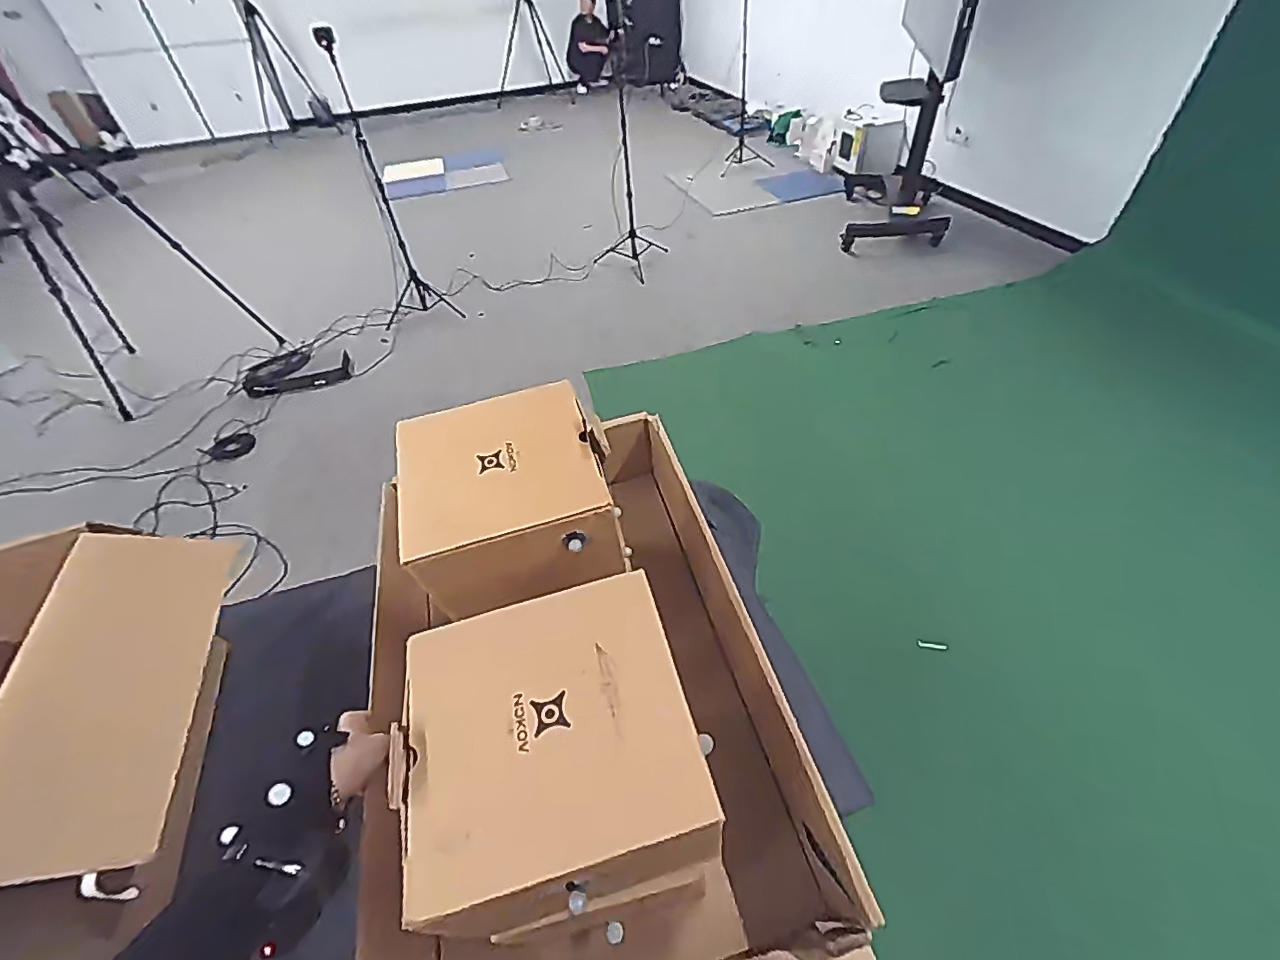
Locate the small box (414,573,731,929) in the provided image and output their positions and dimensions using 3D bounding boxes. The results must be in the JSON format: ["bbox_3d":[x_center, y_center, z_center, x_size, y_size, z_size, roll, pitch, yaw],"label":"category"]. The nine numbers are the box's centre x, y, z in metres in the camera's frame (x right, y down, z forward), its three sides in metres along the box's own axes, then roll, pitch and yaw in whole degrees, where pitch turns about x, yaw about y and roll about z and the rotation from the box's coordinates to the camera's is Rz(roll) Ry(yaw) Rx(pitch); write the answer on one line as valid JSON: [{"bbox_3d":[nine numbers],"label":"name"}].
[{"bbox_3d":[-0.044,0.201,0.398,0.179,0.176,0.168,-17,51,-7],"label":"small box"}]

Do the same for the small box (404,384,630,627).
[{"bbox_3d":[-0.117,0.035,0.545,0.179,0.176,0.168,-16,52,-7],"label":"small box"}]
